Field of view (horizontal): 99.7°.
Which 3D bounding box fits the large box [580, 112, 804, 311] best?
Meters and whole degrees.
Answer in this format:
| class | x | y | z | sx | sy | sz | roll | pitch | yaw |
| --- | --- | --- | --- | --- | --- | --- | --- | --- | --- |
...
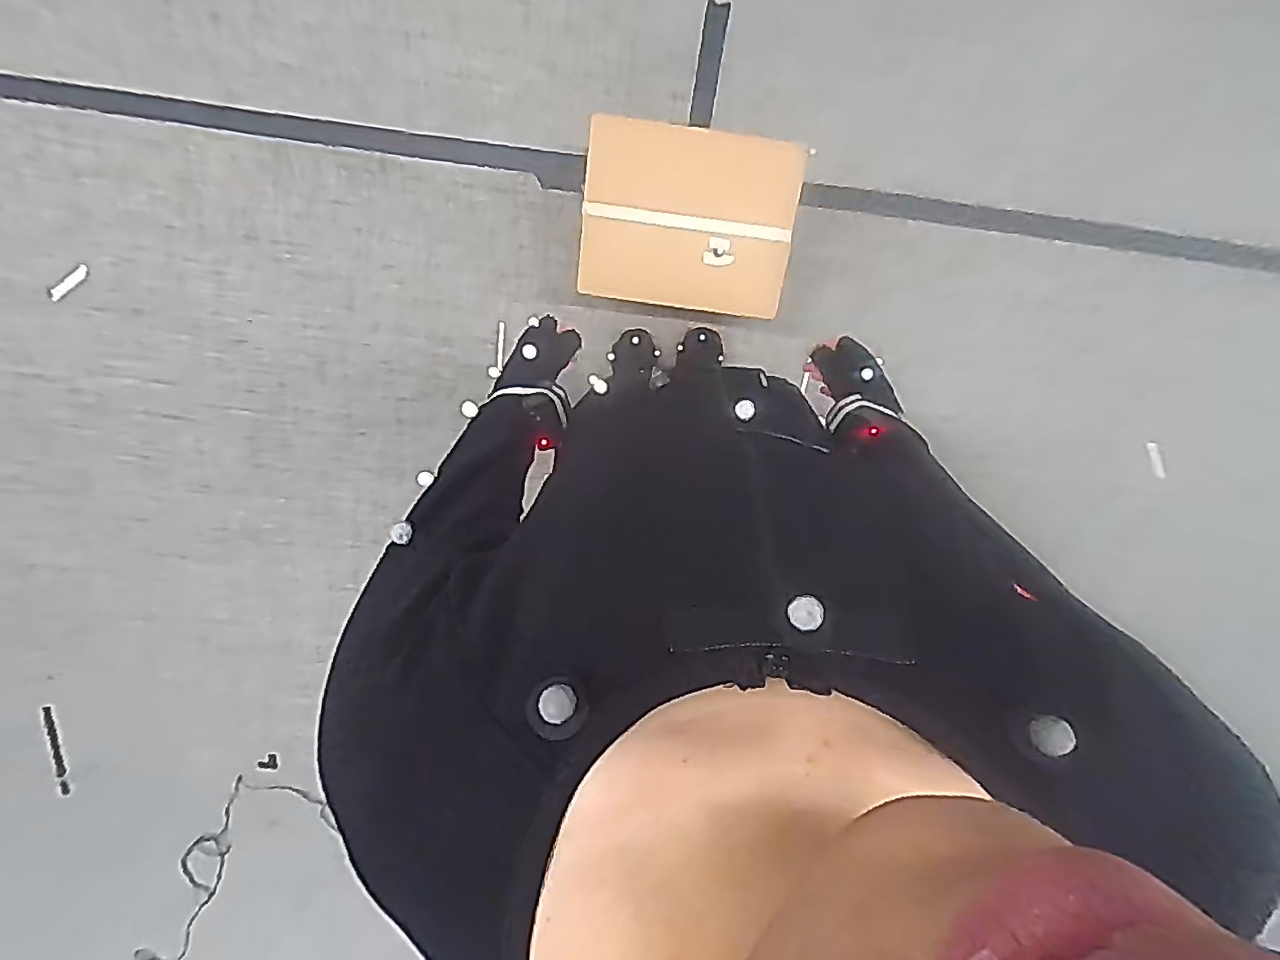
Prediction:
| class | x | y | z | sx | sy | sz | roll | pitch | yaw |
| --- | --- | --- | --- | --- | --- | --- | --- | --- | --- |
| large box | 0.087 | -0.553 | 1.174 | 0.408 | 0.320 | 0.320 | 6 | 110 | -3 |
